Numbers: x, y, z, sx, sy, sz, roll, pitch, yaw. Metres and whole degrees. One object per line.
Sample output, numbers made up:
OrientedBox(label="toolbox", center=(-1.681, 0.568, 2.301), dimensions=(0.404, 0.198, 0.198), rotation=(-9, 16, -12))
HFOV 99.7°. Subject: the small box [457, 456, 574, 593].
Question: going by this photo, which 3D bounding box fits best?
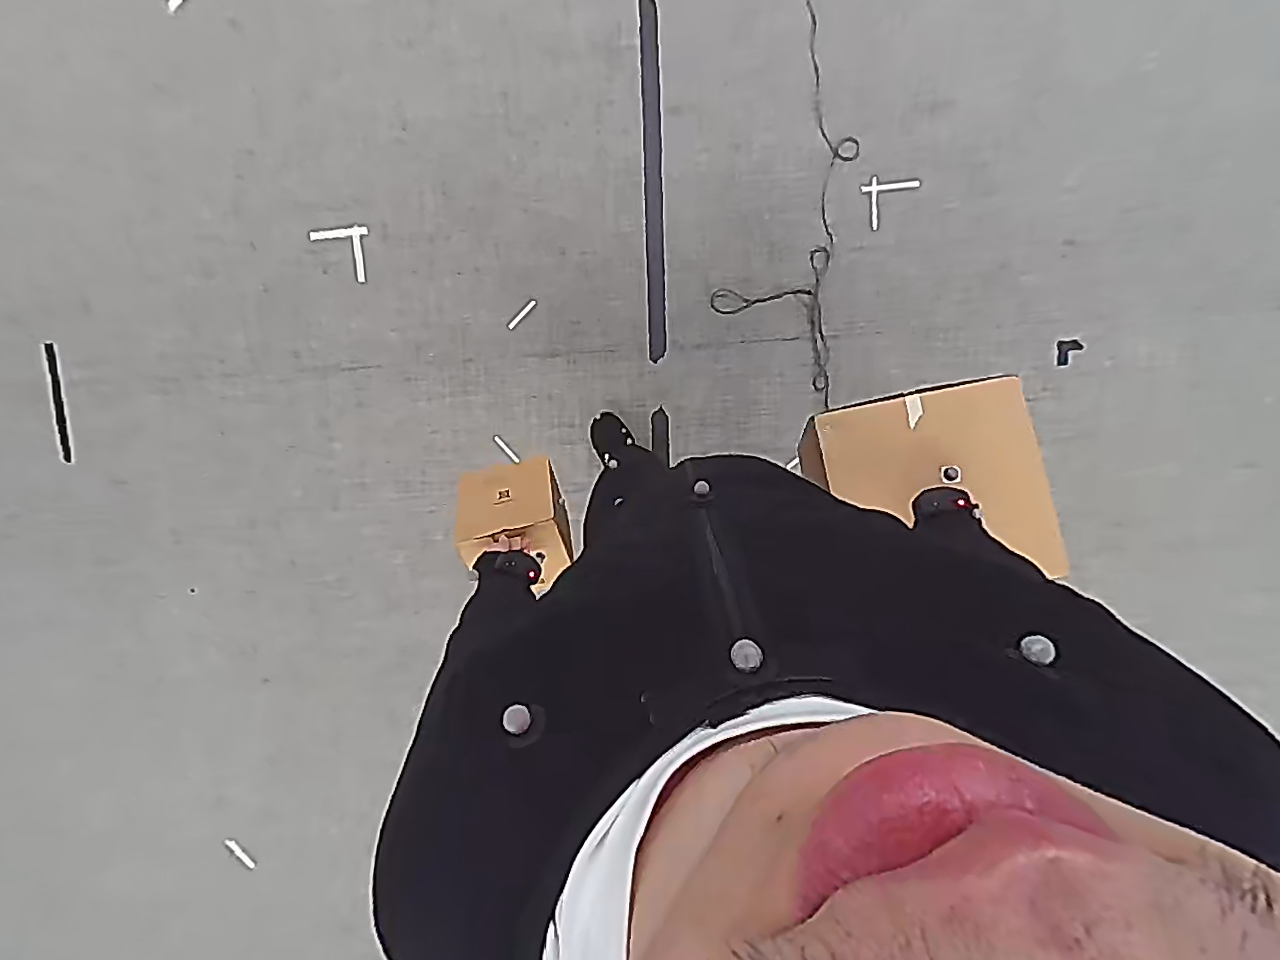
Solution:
OrientedBox(label="small box", center=(-0.224, 0.087, 0.995), dimensions=(0.168, 0.179, 0.176), rotation=(-13, 131, -4))
